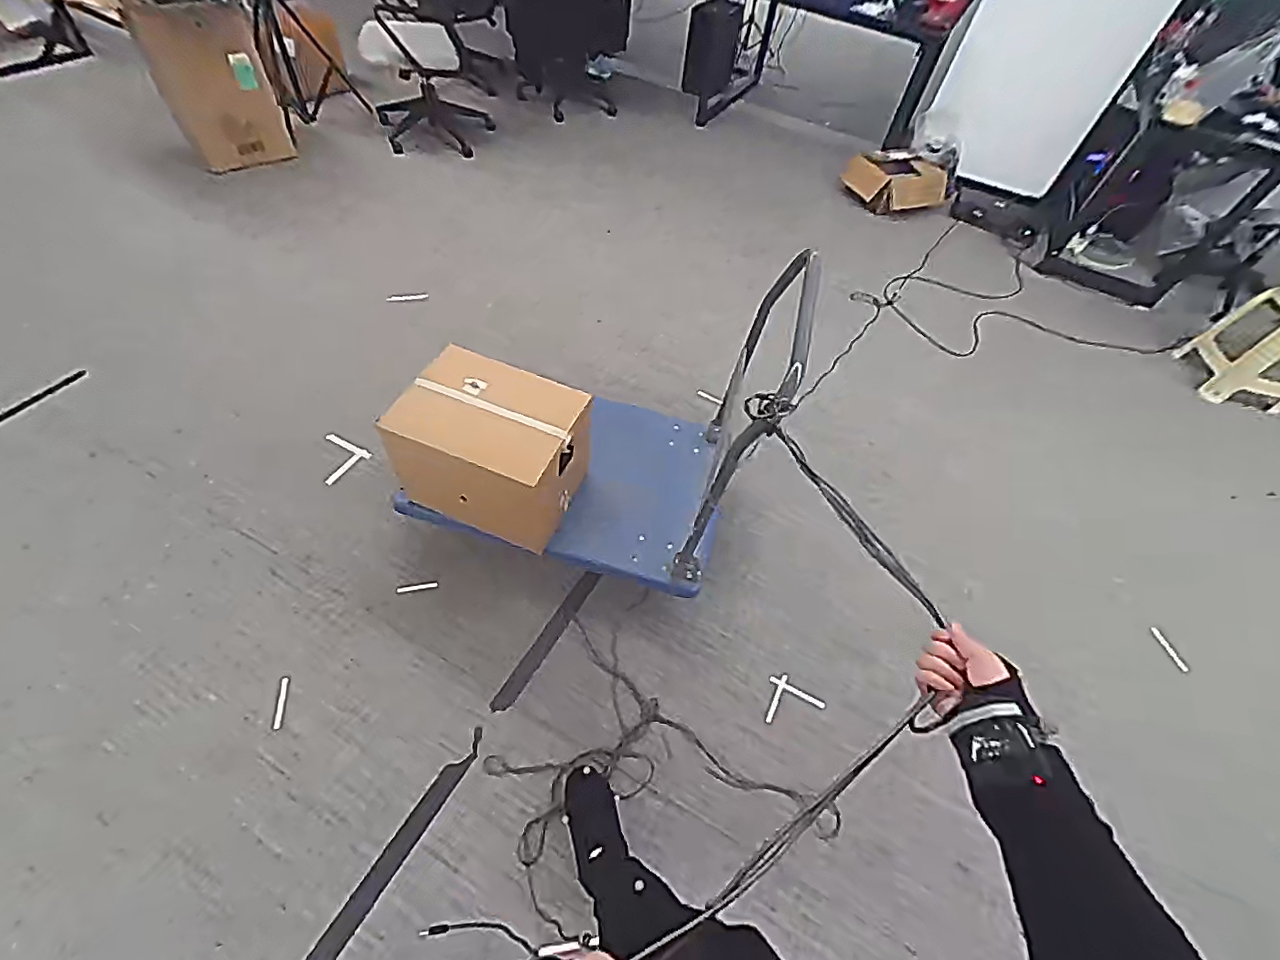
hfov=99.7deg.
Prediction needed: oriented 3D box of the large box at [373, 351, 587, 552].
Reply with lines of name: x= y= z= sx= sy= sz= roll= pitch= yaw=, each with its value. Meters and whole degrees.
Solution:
large box: x=-0.376 y=-0.068 z=1.389 sx=0.408 sy=0.320 sz=0.320 roll=20 pitch=53 yaw=8
